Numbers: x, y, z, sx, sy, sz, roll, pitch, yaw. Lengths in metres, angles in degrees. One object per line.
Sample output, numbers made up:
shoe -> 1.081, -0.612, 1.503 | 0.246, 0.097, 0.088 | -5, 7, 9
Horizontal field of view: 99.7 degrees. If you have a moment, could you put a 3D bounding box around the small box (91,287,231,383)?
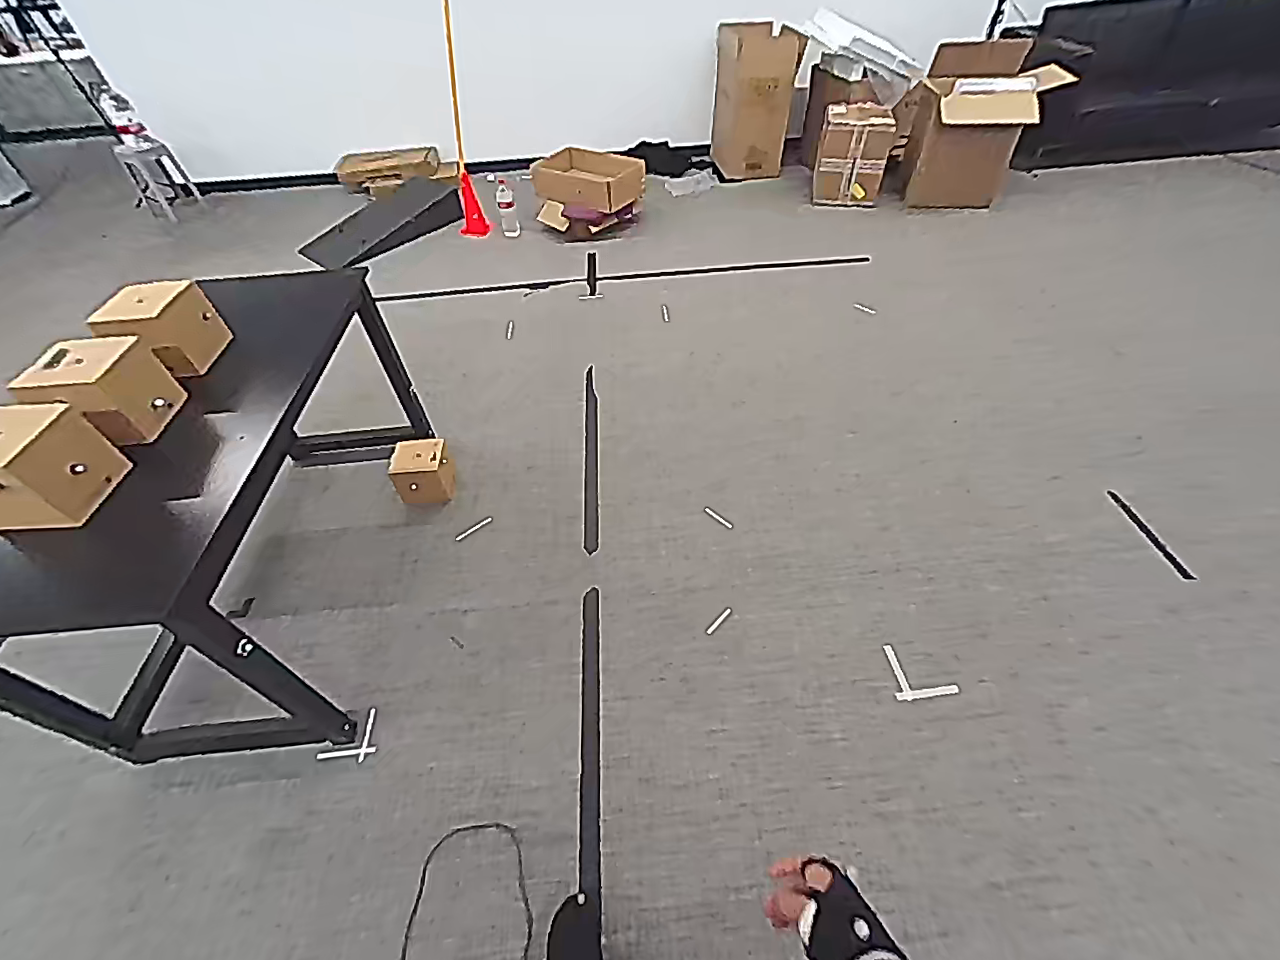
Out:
small box -> -1.174, -0.357, 1.347 | 0.168, 0.176, 0.179 | -6, 48, 0

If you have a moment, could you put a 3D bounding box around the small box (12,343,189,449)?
small box -> -1.156, -0.177, 1.177 | 0.179, 0.176, 0.168 | -5, 47, -2

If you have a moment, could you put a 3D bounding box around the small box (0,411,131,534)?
small box -> -1.146, -0.012, 1.025 | 0.179, 0.176, 0.168 | -3, 47, 2

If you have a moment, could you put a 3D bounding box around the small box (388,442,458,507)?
small box -> -0.794, -0.016, 1.996 | 0.179, 0.176, 0.168 | -6, 48, -1
